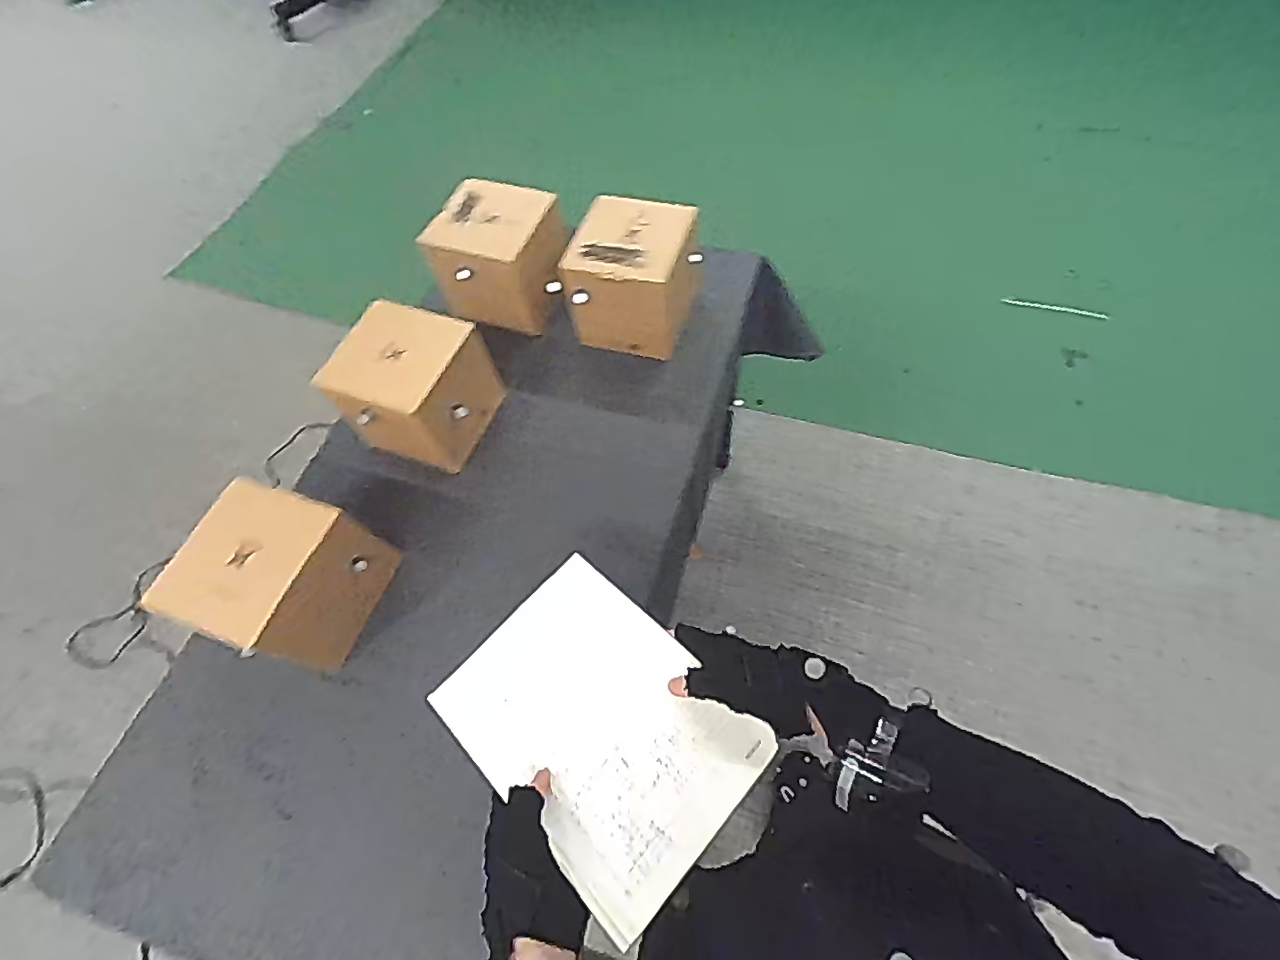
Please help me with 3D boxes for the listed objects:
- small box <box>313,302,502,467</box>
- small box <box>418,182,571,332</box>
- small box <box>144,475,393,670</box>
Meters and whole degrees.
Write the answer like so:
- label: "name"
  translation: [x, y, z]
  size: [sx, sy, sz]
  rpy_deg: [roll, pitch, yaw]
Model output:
- label: "small box"
  translation: [-0.341, -0.140, 0.835]
  size: [0.179, 0.176, 0.168]
  rpy_deg: [17, 65, 14]
- label: "small box"
  translation: [-0.243, -0.387, 0.951]
  size: [0.179, 0.176, 0.168]
  rpy_deg: [17, 66, 13]
- label: "small box"
  translation: [-0.457, 0.125, 0.704]
  size: [0.168, 0.176, 0.179]
  rpy_deg: [16, 64, 14]
